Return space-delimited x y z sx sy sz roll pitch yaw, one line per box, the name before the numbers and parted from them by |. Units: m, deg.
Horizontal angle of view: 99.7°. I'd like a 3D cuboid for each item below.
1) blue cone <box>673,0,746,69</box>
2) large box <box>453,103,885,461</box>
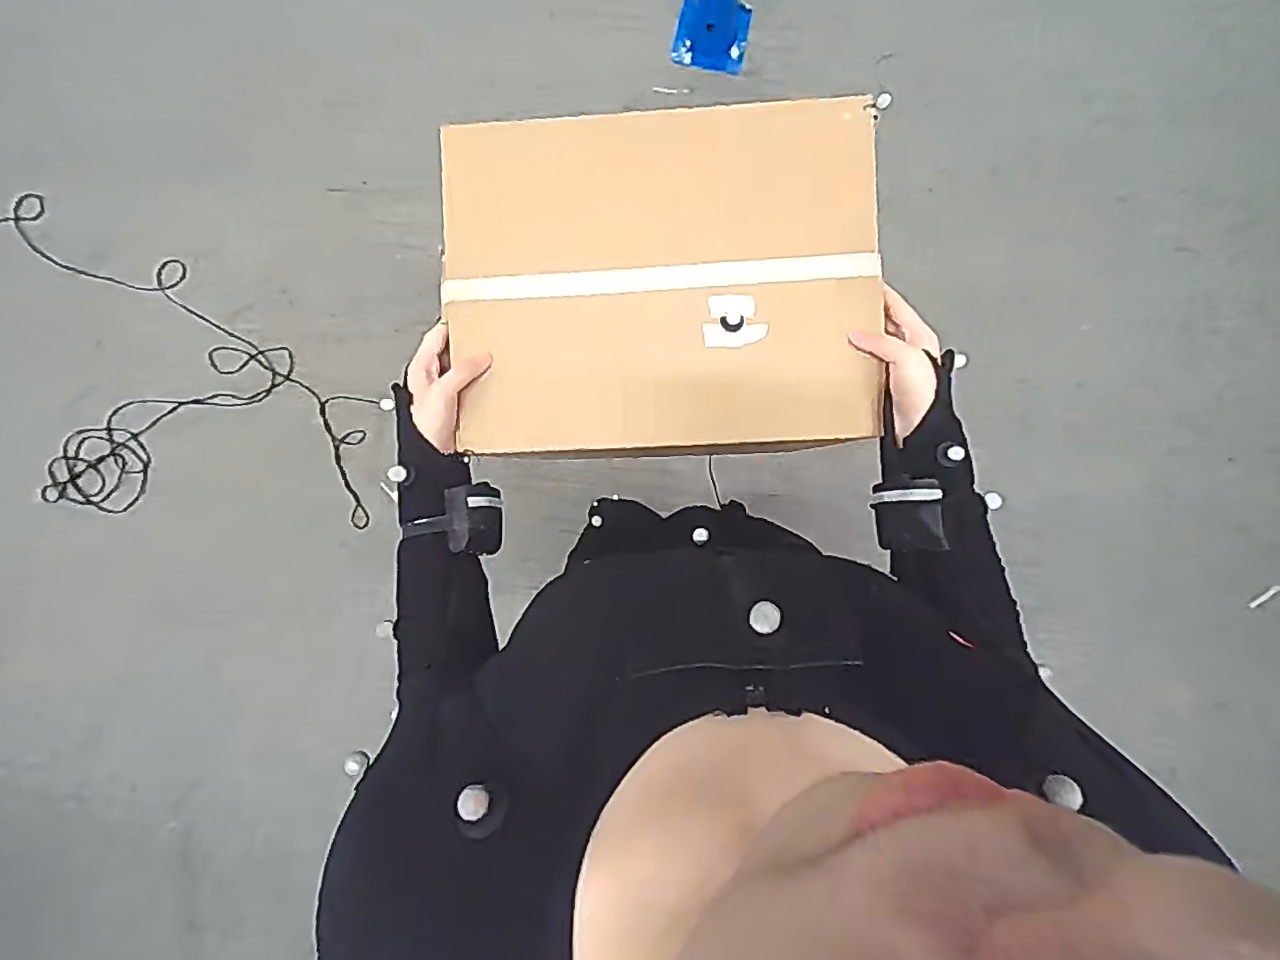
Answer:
blue cone | 0.192 -1.265 1.363 0.193 0.380 0.192 13 89 1
large box | 0.028 -0.192 0.661 0.408 0.320 0.320 -2 91 2
